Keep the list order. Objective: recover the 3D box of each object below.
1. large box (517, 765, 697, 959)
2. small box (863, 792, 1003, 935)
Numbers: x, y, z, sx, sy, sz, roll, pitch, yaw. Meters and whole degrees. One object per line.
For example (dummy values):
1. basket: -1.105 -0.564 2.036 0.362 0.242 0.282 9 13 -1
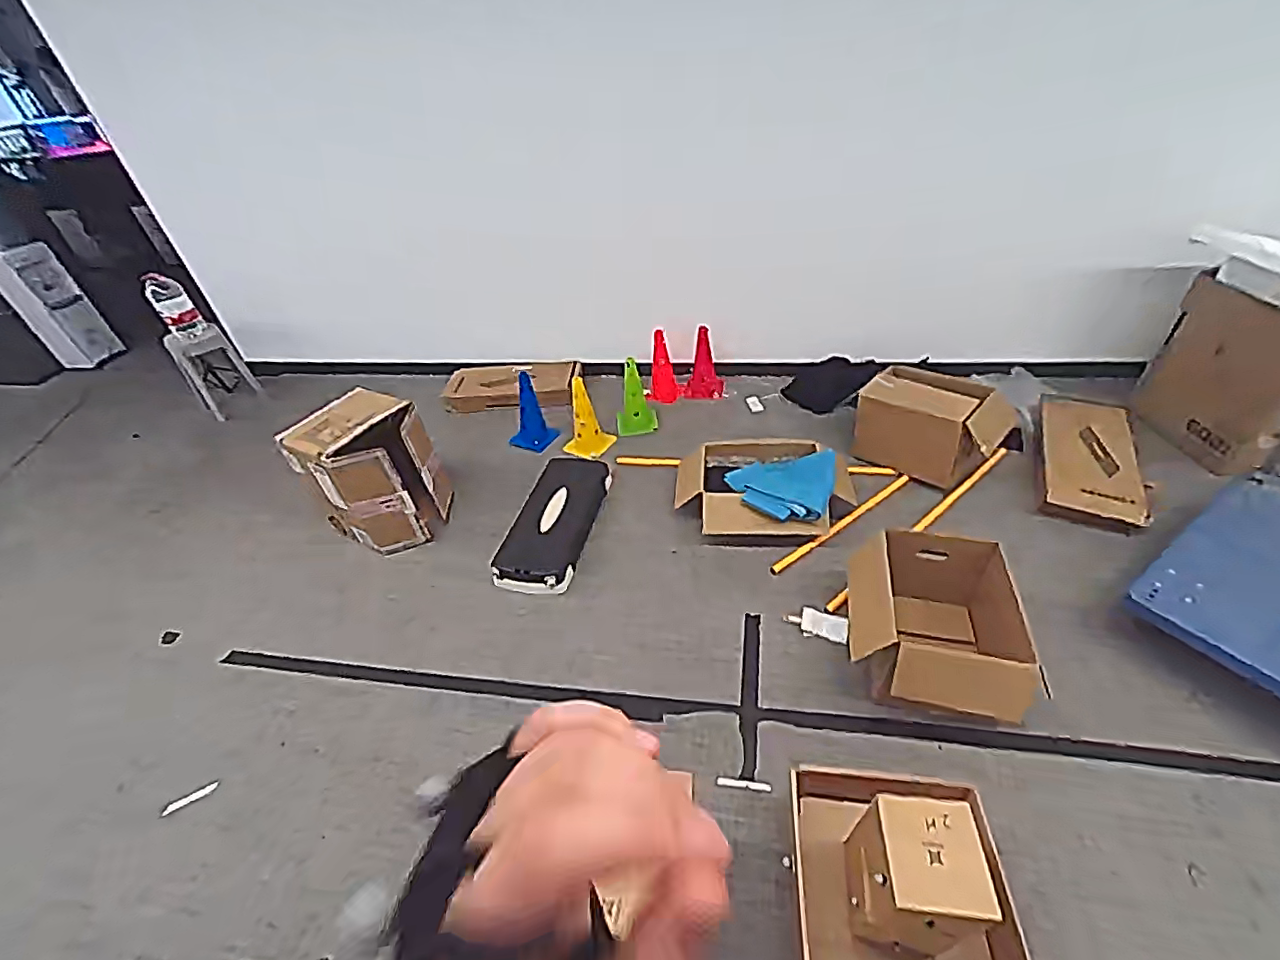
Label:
1. large box: -0.040 0.862 1.113 0.320 0.320 0.408 -1 41 8
2. small box: 0.522 0.706 0.994 0.168 0.176 0.179 2 42 8
